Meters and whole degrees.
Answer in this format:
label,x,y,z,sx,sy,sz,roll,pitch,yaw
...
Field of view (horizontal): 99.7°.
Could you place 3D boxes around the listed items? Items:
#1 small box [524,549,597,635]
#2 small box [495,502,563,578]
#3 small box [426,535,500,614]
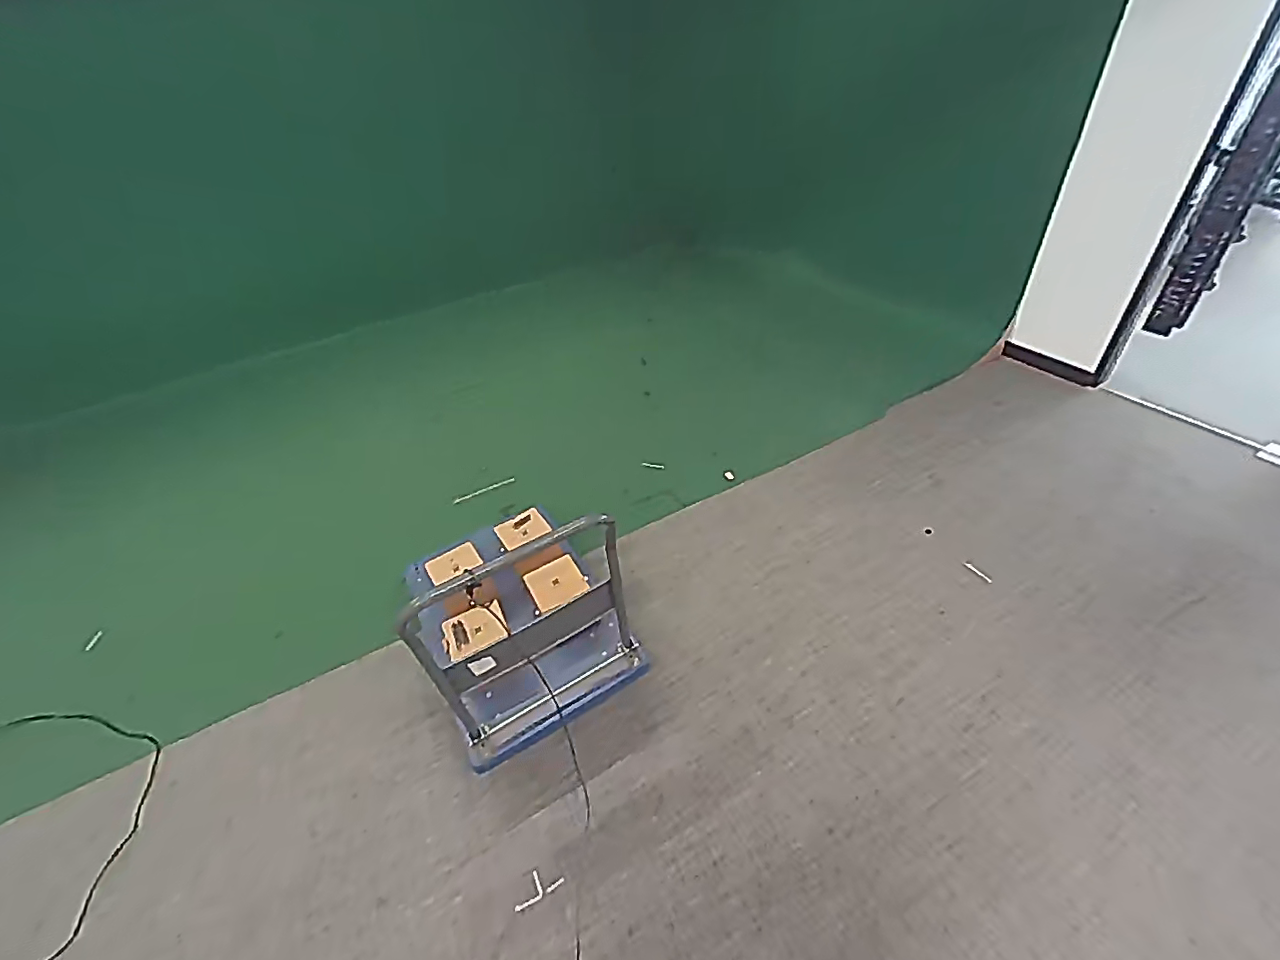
label,x,y,z,sx,sy,sz,roll,pitch,yaw
small box,-0.255,0.362,1.747,0.168,0.176,0.179,-24,45,-18
small box,-0.392,0.217,1.929,0.168,0.176,0.179,-29,47,-21
small box,-0.598,0.328,1.836,0.168,0.176,0.179,-27,45,-22
